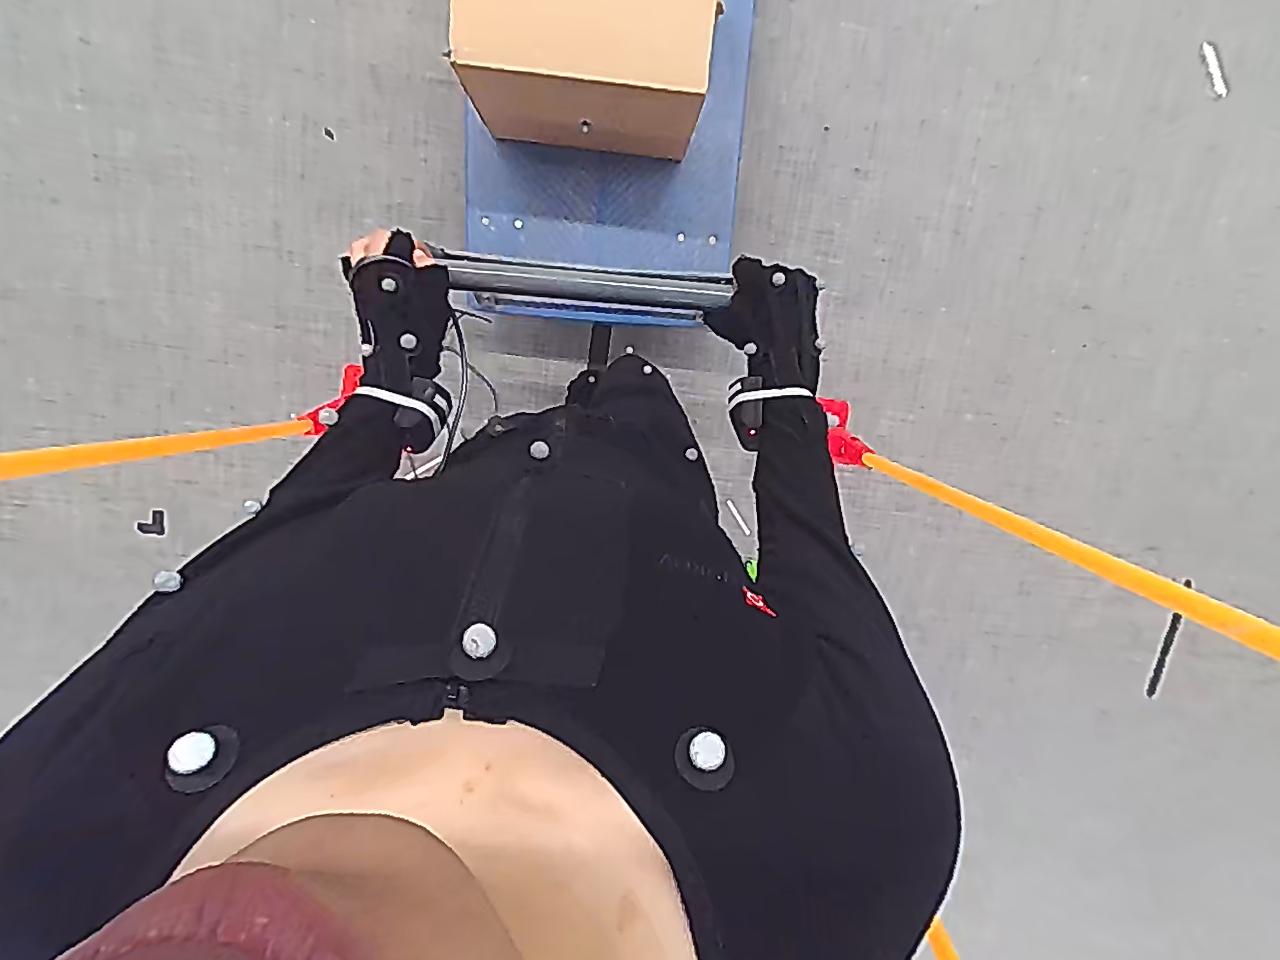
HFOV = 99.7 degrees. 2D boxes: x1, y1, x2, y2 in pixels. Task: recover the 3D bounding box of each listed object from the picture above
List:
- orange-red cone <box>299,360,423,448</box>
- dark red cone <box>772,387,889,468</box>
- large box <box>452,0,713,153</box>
[{"bbox_3d":[-0.664,-0.159,1.231,0.198,0.360,0.199,14,100,-7],"label":"orange-red cone"},{"bbox_3d":[0.468,-0.101,1.275,0.201,0.394,0.202,7,103,-6],"label":"dark red cone"},{"bbox_3d":[-0.086,-0.811,0.958,0.408,0.320,0.320,4,103,-3],"label":"large box"}]
